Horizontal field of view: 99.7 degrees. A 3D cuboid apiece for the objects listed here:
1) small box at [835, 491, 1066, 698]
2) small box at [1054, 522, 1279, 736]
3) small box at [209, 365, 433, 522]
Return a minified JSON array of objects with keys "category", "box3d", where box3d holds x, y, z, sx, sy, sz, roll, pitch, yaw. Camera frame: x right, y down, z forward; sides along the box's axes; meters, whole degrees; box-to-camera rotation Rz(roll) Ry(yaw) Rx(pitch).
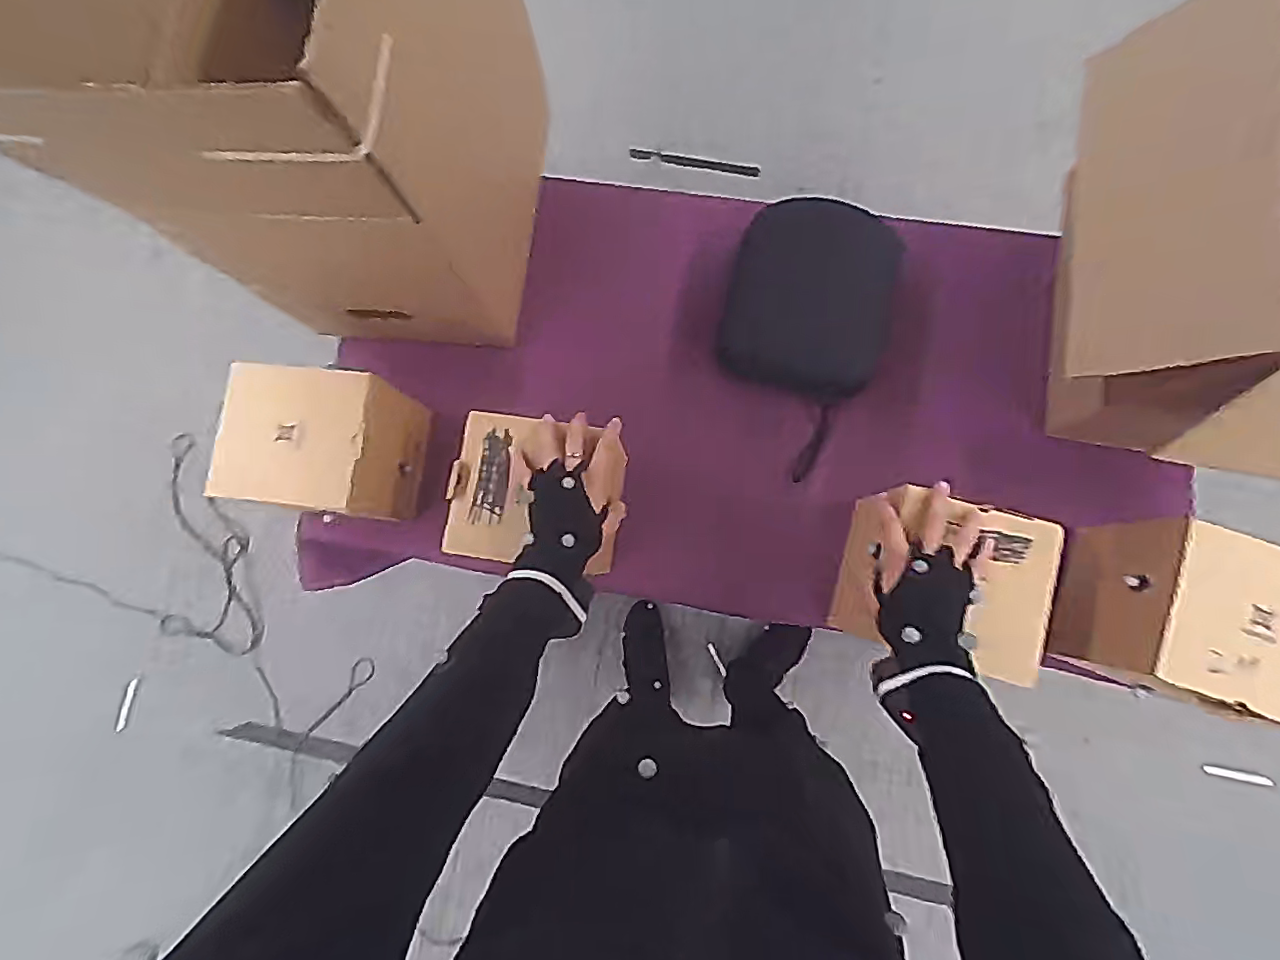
[{"category":"small box","box3d":[0.348,0.127,0.641,0.168,0.176,0.179,16,83,7]},{"category":"small box","box3d":[0.623,0.163,0.616,0.168,0.176,0.179,21,82,7]},{"category":"small box","box3d":[-0.402,-0.038,0.712,0.179,0.176,0.168,6,81,3]}]
